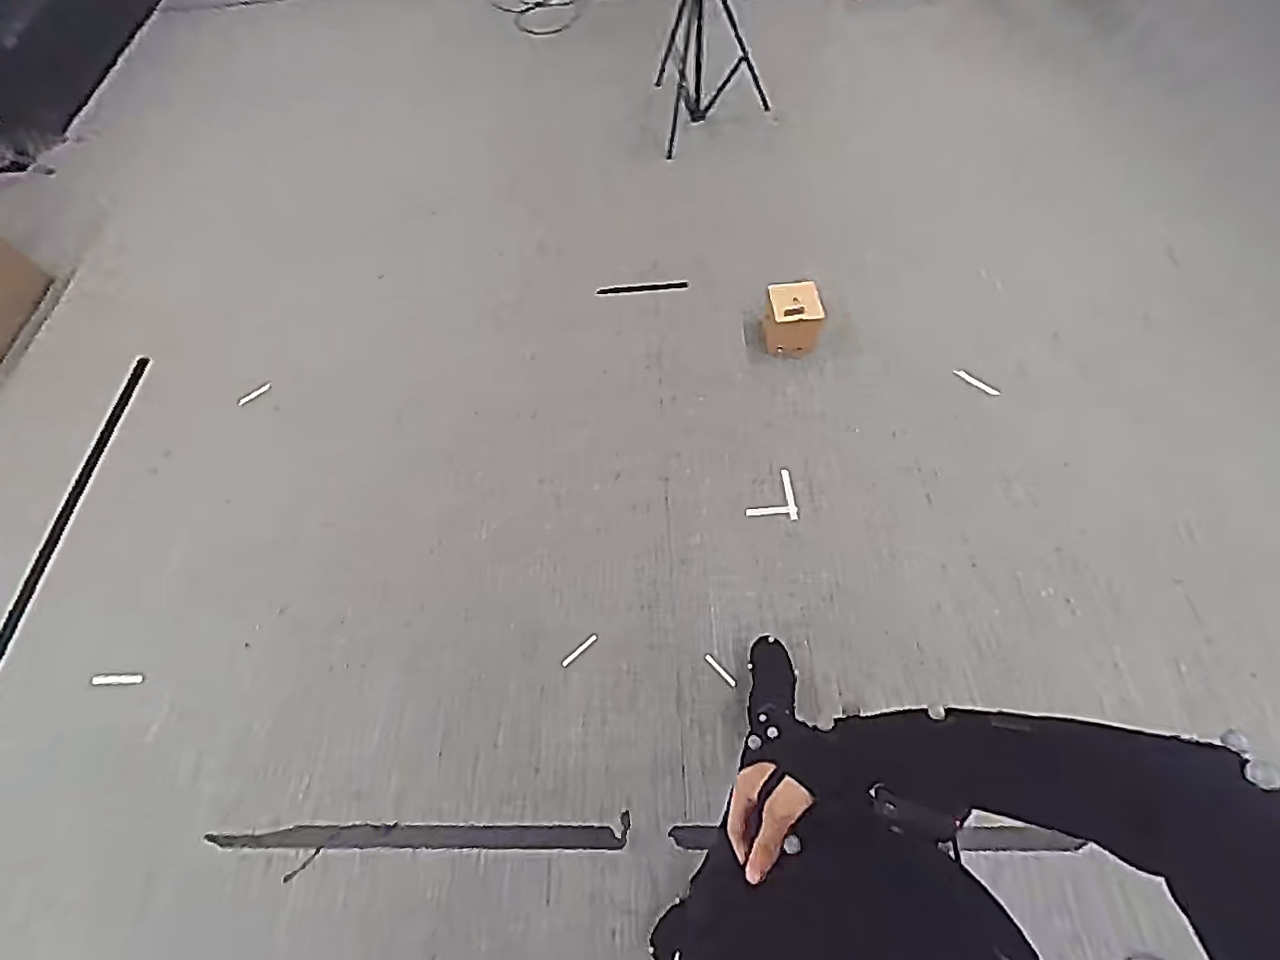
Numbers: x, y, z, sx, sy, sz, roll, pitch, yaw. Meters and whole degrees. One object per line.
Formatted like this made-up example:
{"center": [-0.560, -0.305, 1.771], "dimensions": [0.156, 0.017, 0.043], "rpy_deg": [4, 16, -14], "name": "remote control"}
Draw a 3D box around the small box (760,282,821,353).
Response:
{"center": [0.527, -0.568, 1.915], "dimensions": [0.168, 0.176, 0.179], "rpy_deg": [-5, 62, 1], "name": "small box"}
